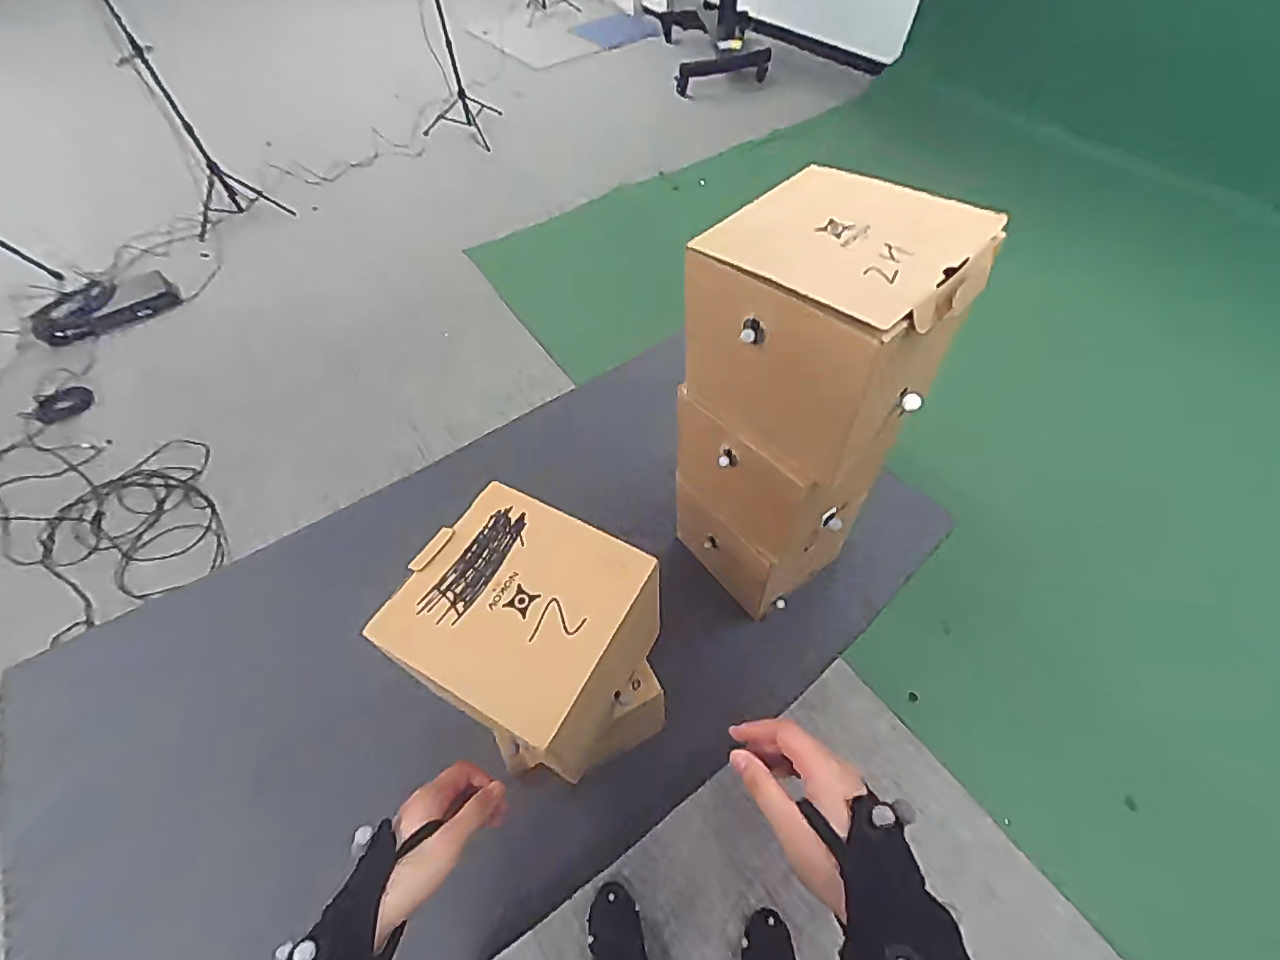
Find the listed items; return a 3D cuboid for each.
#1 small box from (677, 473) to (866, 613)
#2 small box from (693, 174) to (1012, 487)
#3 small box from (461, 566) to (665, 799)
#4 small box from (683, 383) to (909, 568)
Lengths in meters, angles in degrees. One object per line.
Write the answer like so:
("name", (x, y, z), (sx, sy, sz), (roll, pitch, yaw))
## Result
("small box", (0.168, 0.058, 0.741), (0.168, 0.176, 0.179), (-32, 58, -19))
("small box", (0.161, -0.126, 0.470), (0.168, 0.176, 0.179), (-39, 61, -21))
("small box", (-0.084, 0.237, 0.627), (0.168, 0.176, 0.179), (-24, 57, -14))
("small box", (0.162, -0.034, 0.607), (0.168, 0.176, 0.179), (-36, 61, -20))
